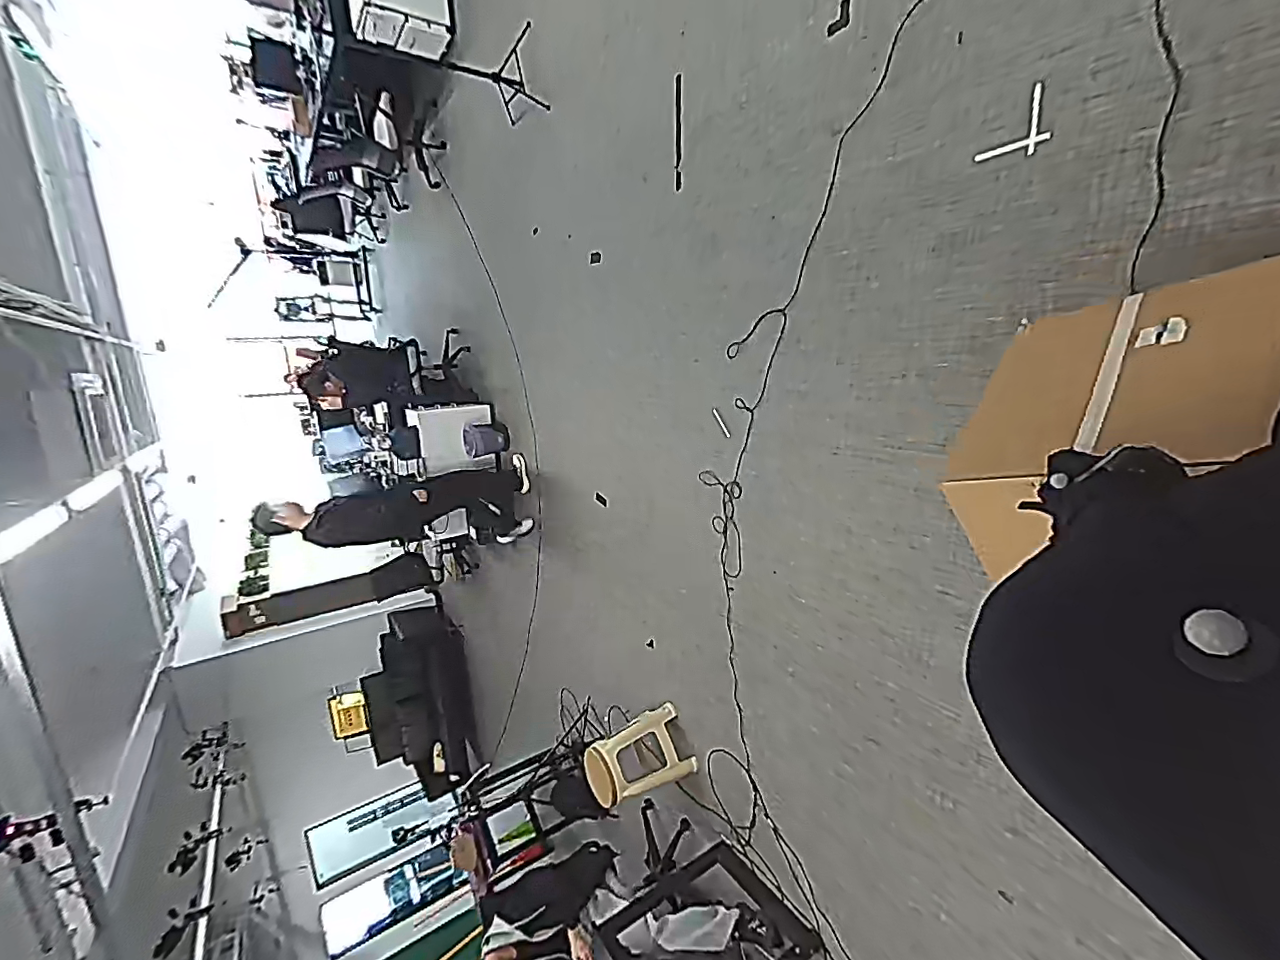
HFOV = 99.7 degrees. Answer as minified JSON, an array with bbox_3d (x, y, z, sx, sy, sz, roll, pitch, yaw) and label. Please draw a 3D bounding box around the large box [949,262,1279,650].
[{"bbox_3d":[0.718,-0.028,0.768,0.320,0.408,0.320,53,152,-18],"label":"large box"}]
